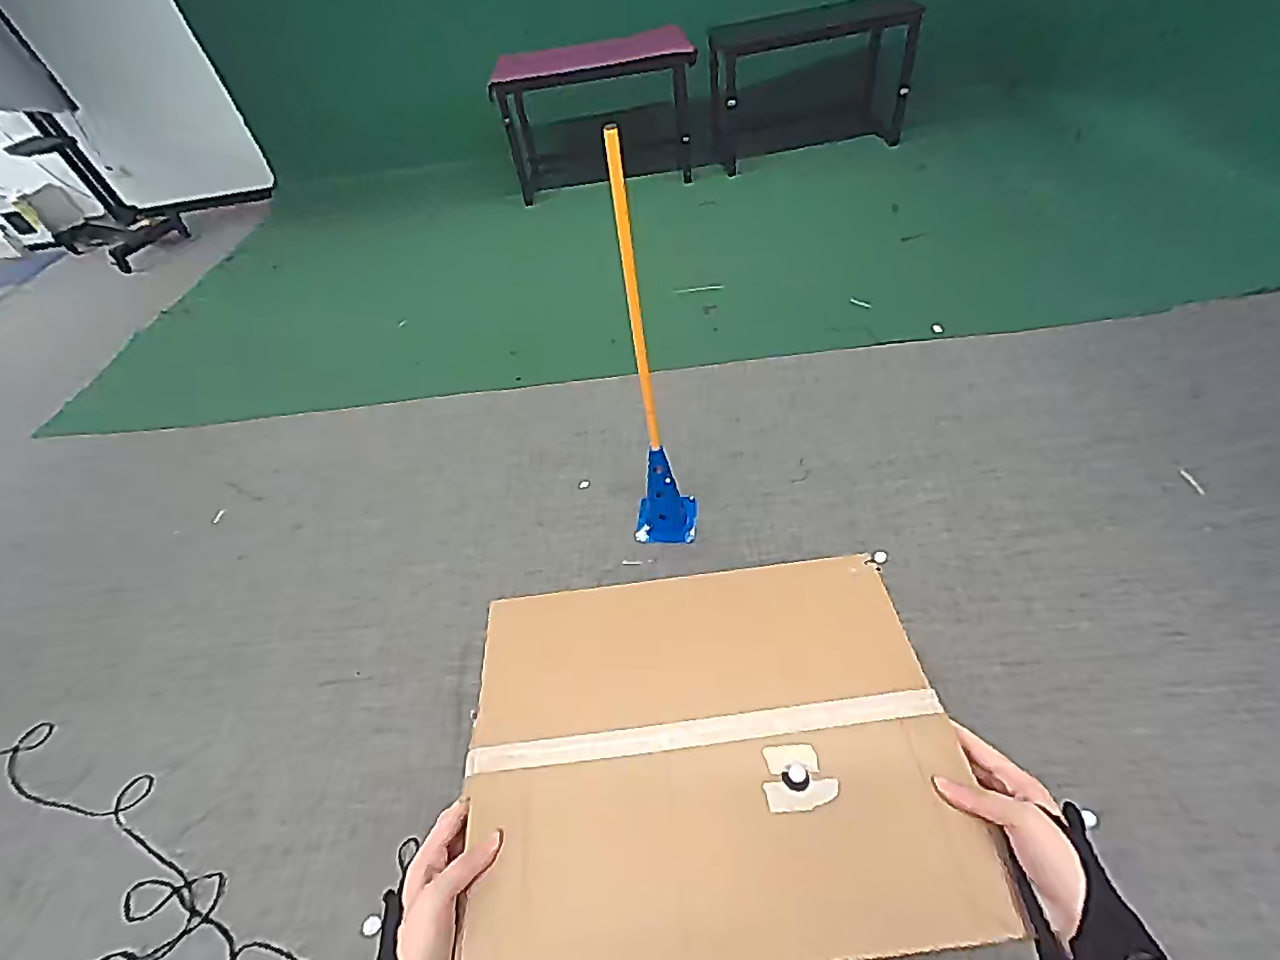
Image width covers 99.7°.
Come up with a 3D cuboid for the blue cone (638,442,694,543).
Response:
[{"bbox_3d":[0.071,0.031,1.760,0.193,0.380,0.192,1,48,11],"label":"blue cone"}]

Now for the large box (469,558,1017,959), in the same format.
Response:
[{"bbox_3d":[0.068,0.320,0.588,0.408,0.320,0.320,-7,48,-1],"label":"large box"}]
